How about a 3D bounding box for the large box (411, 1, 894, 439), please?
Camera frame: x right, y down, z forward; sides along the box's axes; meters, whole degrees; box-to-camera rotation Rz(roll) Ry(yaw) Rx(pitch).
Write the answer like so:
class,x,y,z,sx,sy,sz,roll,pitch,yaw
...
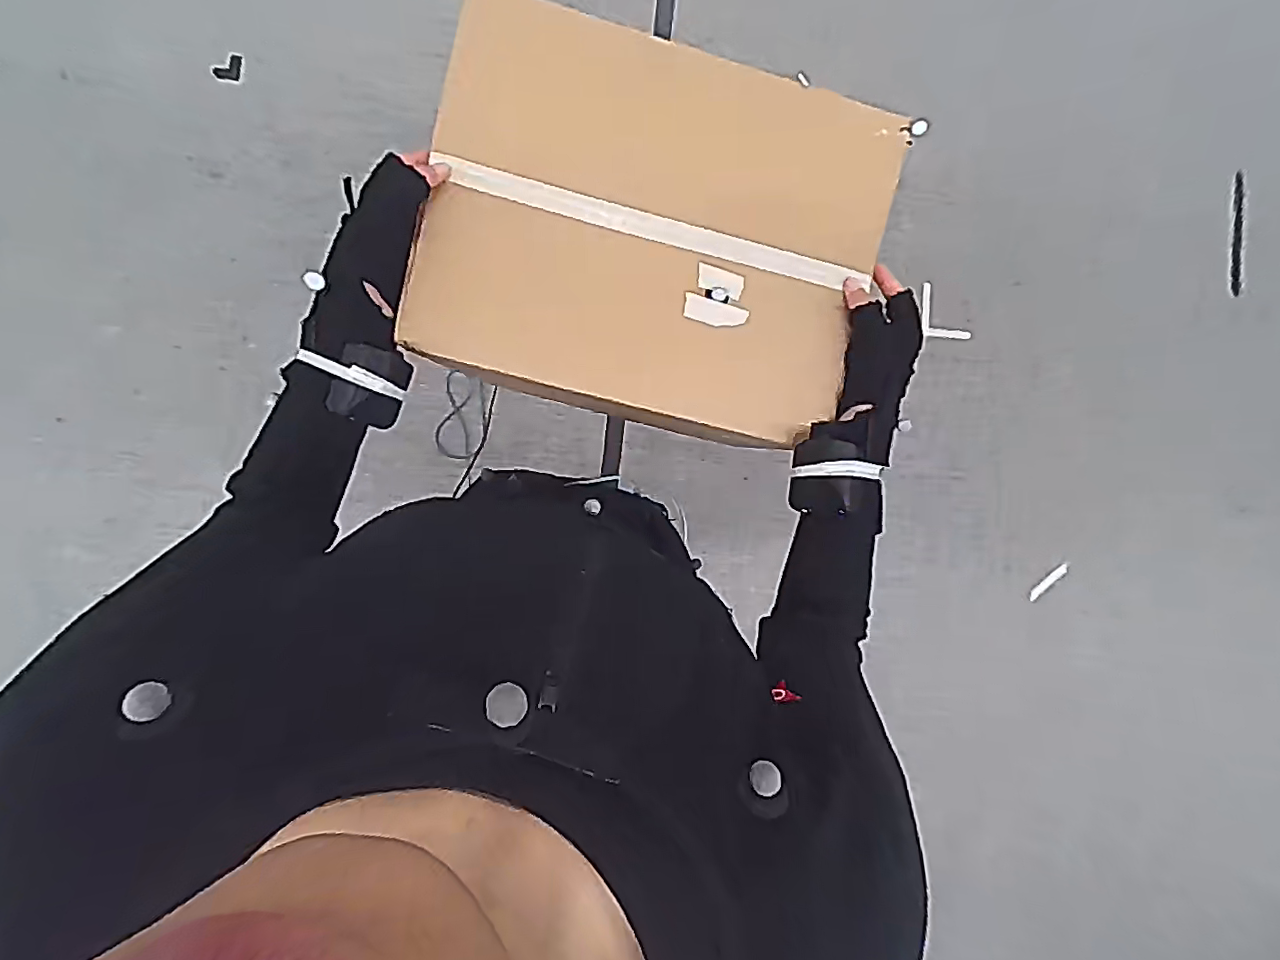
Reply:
class,x,y,z,sx,sy,sz,roll,pitch,yaw
large box,0.000,-0.239,0.643,0.408,0.320,0.320,13,94,-7
